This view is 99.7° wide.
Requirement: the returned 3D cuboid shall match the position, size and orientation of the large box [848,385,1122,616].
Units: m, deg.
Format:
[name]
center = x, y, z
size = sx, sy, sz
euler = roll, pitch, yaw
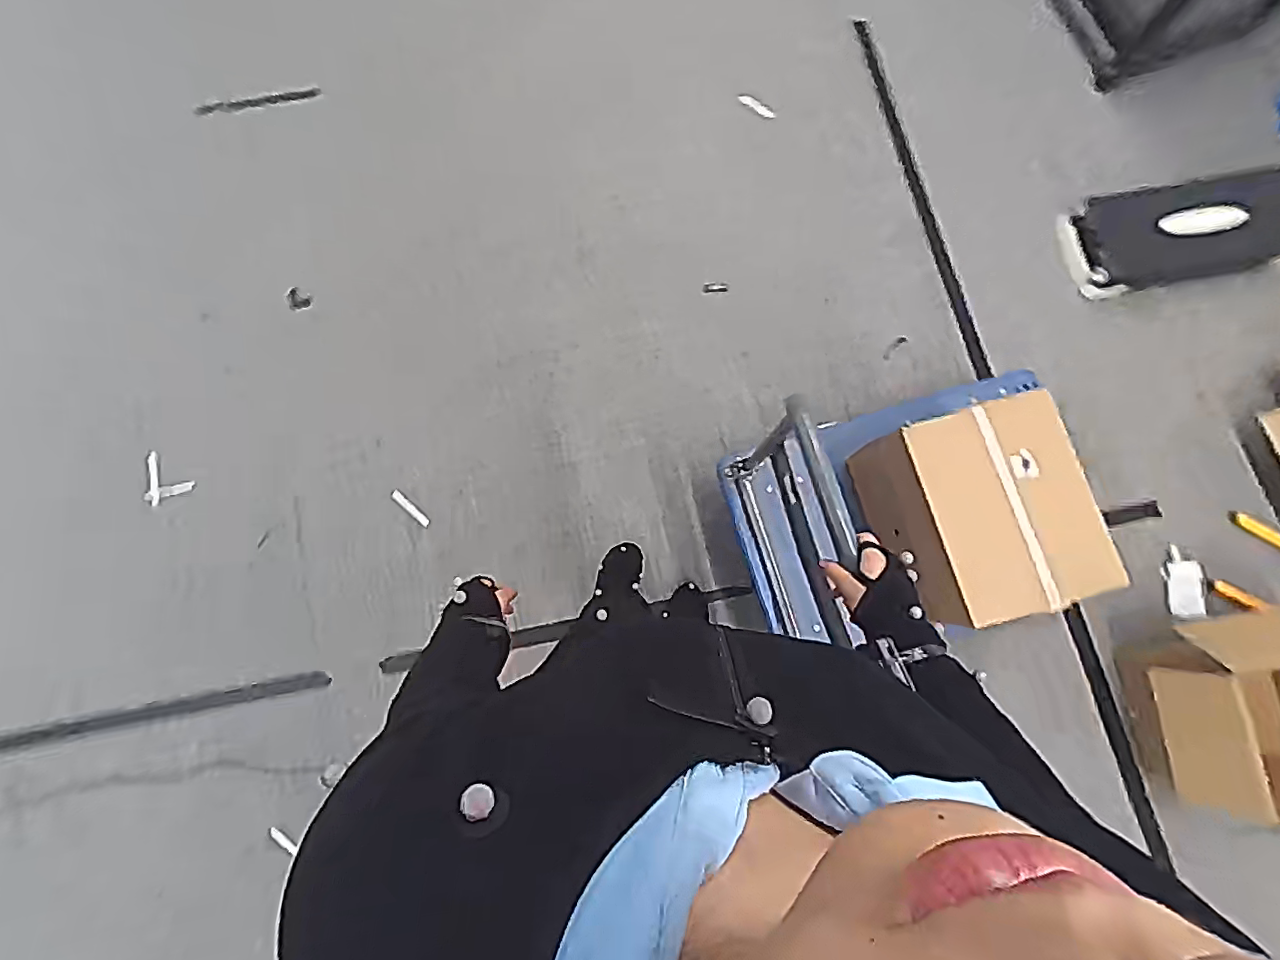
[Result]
[large box]
center = 0.721, 0.060, 1.204
size = 0.320, 0.320, 0.408
euler = -15, 79, -3
